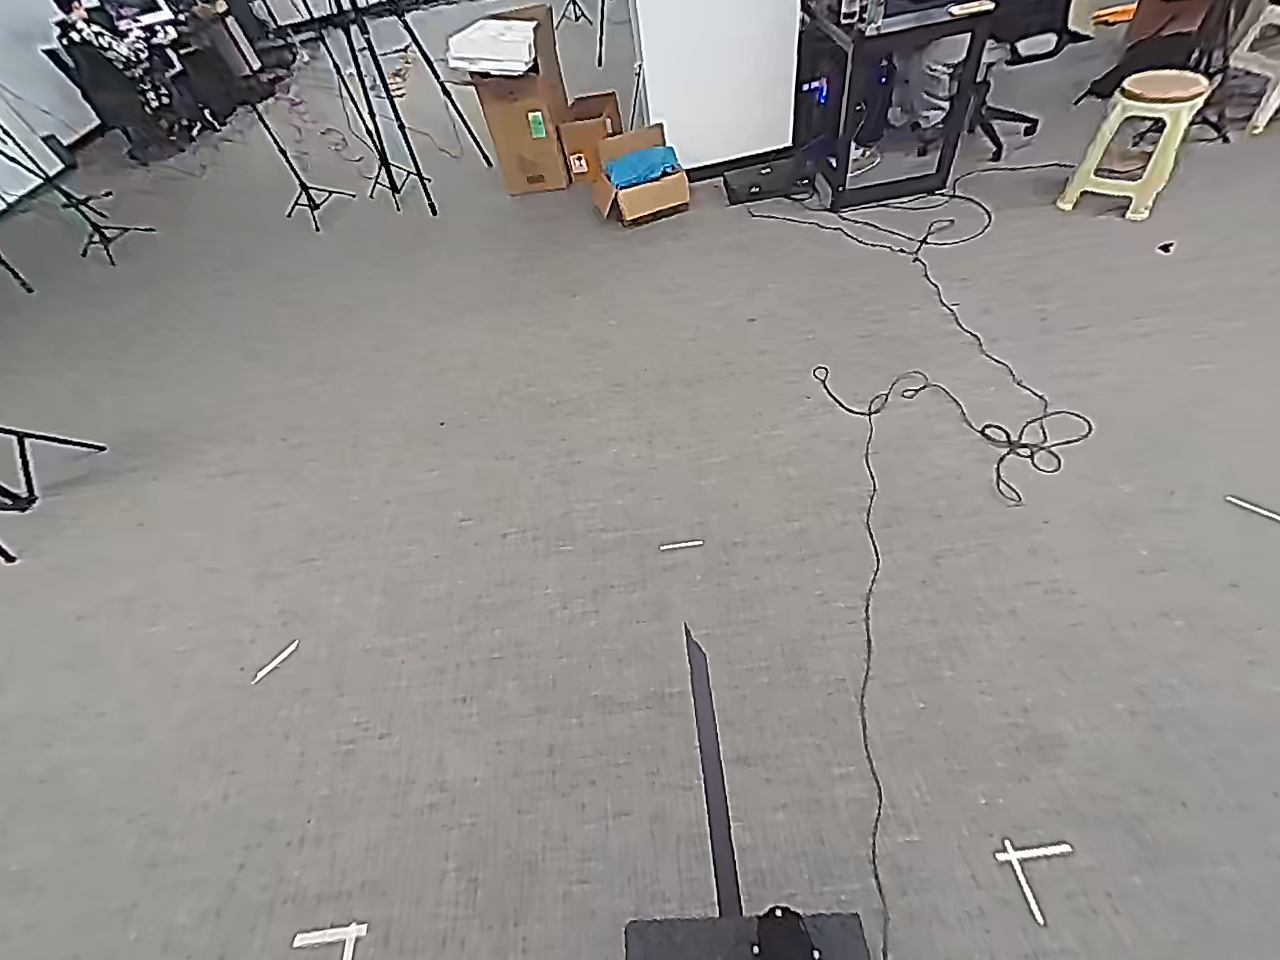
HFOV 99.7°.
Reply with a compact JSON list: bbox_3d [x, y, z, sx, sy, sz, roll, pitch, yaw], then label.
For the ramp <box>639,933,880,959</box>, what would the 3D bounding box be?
[{"bbox_3d":[0.243,1.272,0.736,0.509,0.206,0.991,-11,48,5],"label":"ramp"}]
